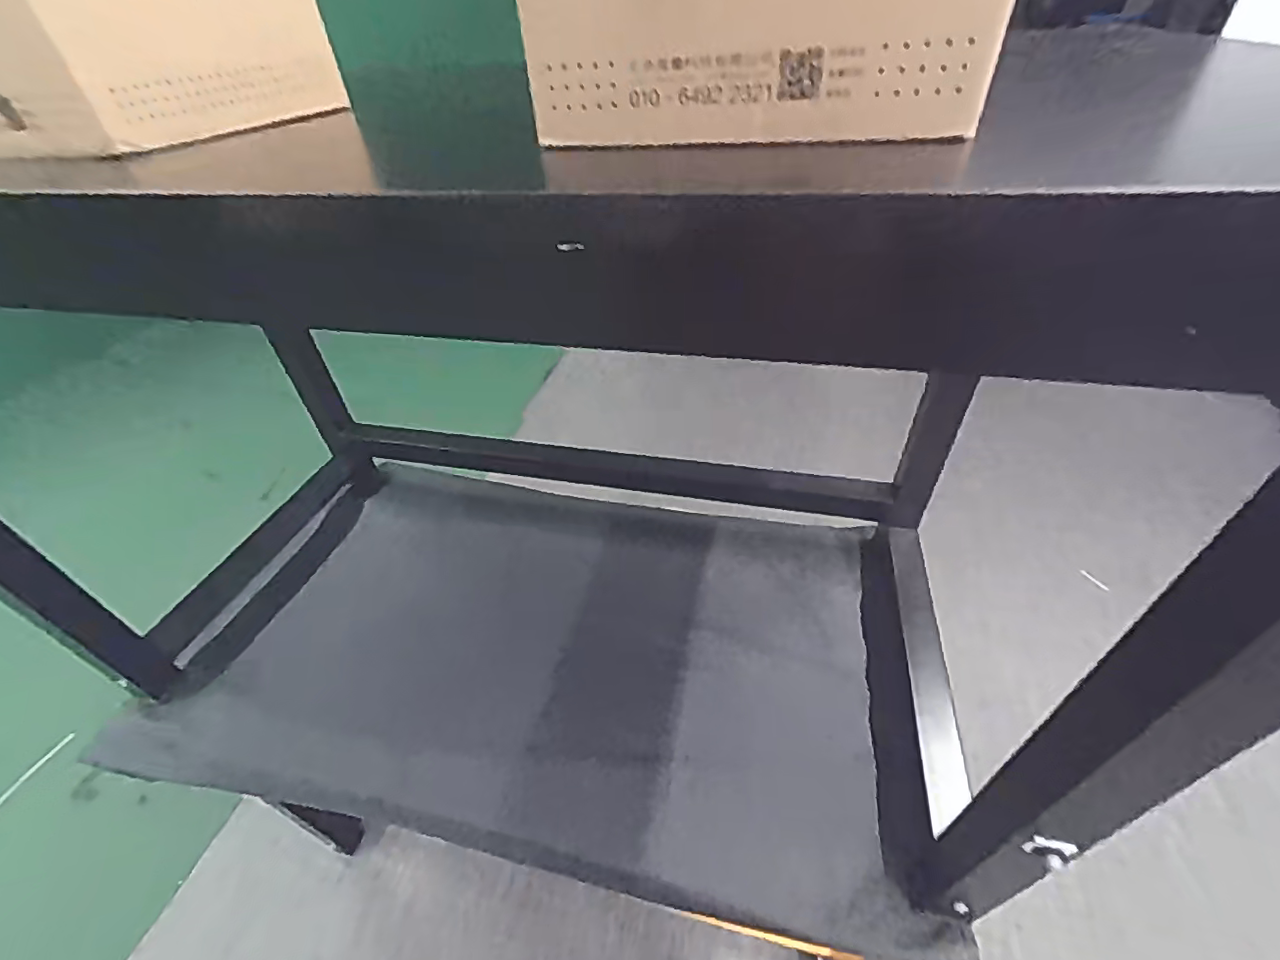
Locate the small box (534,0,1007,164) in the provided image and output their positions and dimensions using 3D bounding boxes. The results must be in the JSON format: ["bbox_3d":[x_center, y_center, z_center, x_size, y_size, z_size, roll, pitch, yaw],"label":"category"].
[{"bbox_3d":[0.056,-0.238,0.218,0.168,0.176,0.179,8,43,14],"label":"small box"}]
